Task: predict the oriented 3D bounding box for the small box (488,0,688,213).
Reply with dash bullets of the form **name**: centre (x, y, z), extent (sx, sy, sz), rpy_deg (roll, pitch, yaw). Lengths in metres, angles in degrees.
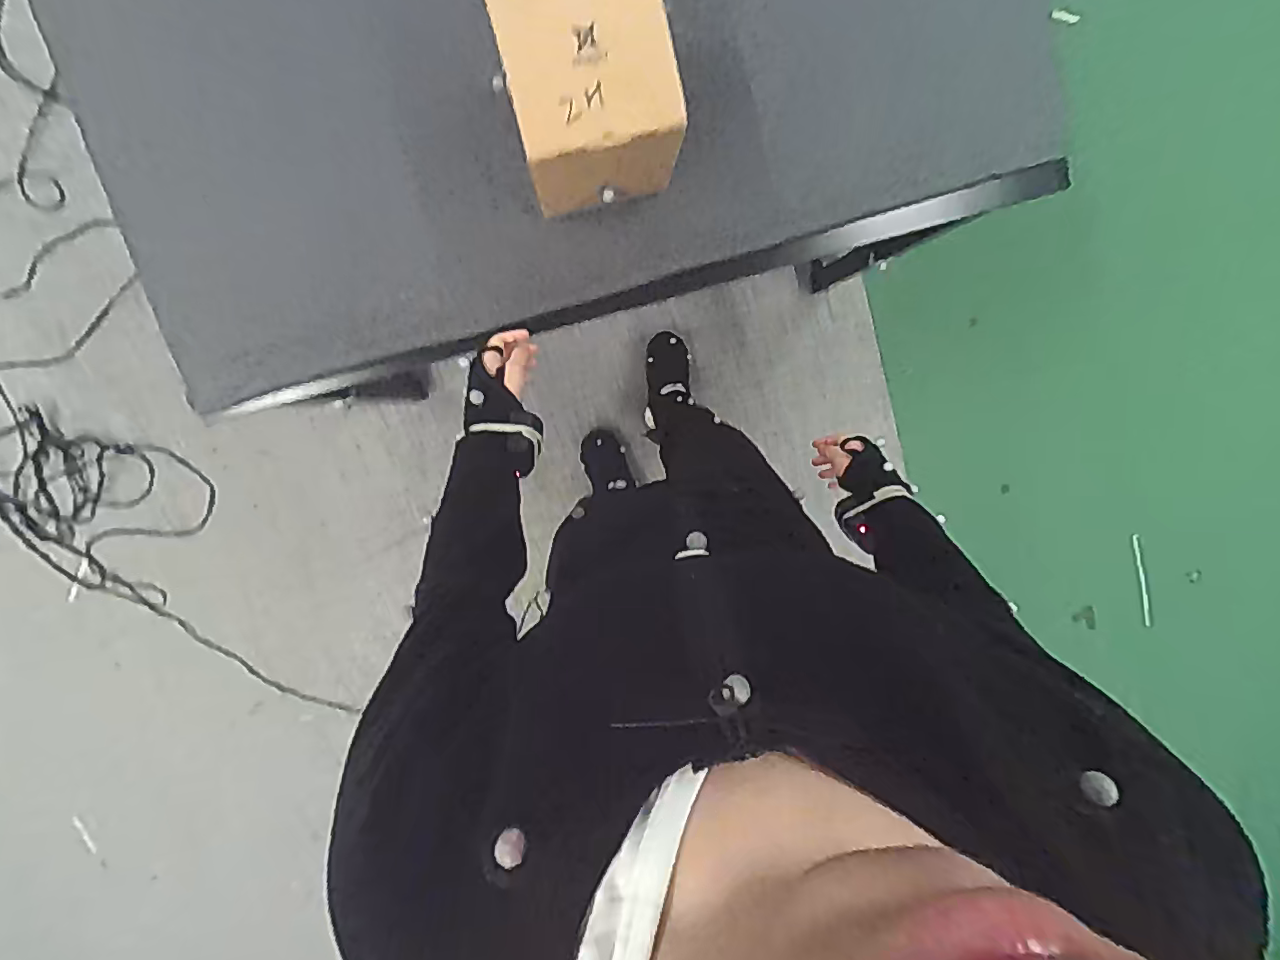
- **small box**: centre (-0.058, -0.427, 0.592), extent (0.168, 0.176, 0.179), rpy_deg (-15, 98, -2)
